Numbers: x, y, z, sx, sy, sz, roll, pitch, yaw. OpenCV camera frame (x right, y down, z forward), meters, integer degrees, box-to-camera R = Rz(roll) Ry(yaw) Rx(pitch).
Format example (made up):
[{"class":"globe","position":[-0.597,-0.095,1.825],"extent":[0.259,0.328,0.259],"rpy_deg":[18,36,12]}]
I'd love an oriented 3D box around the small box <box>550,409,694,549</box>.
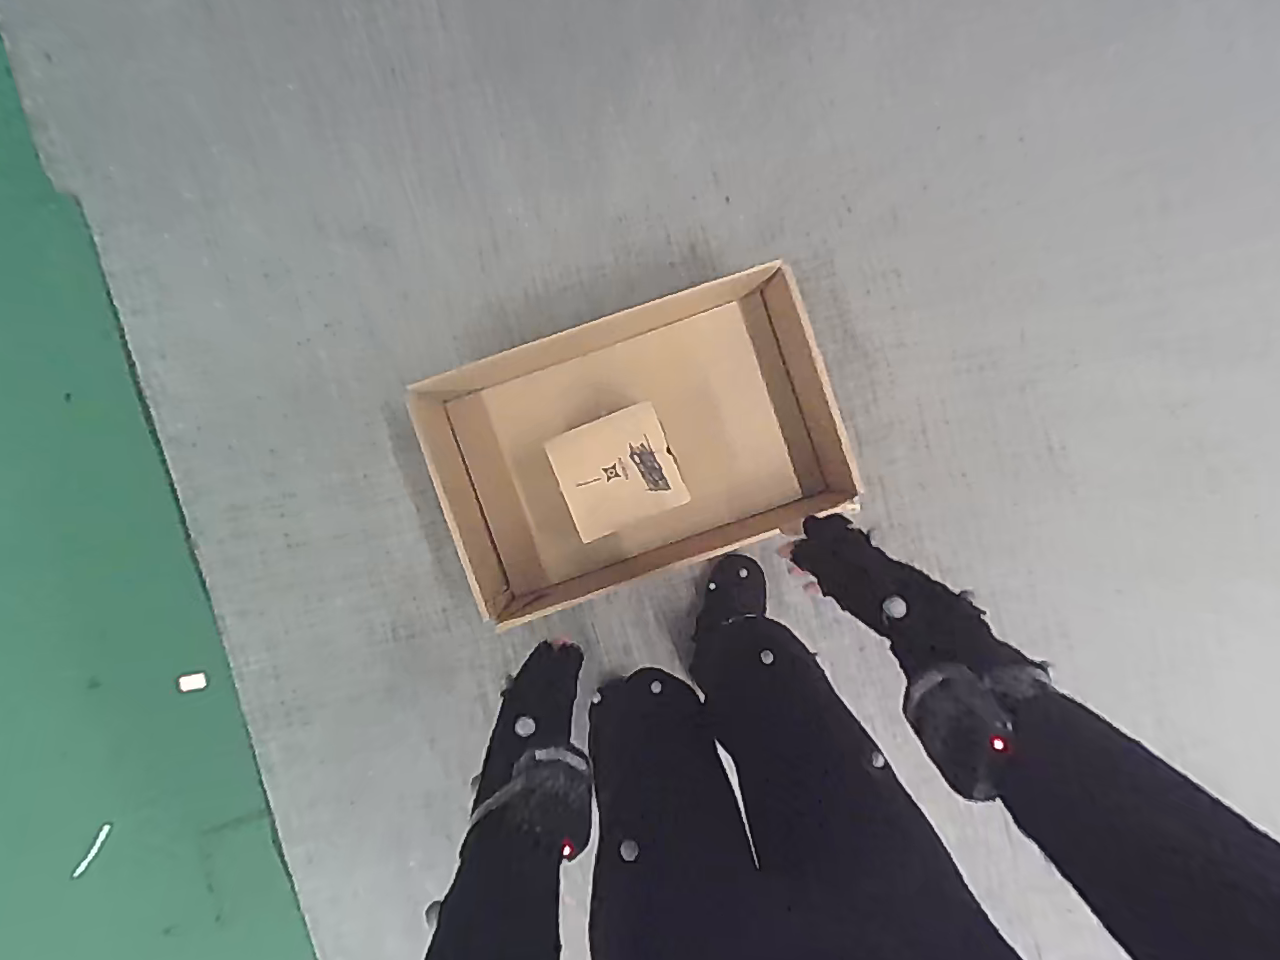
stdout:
[{"class":"small box","position":[-0.027,-0.005,0.876],"extent":[0.179,0.176,0.168],"rpy_deg":[-21,91,2]}]
